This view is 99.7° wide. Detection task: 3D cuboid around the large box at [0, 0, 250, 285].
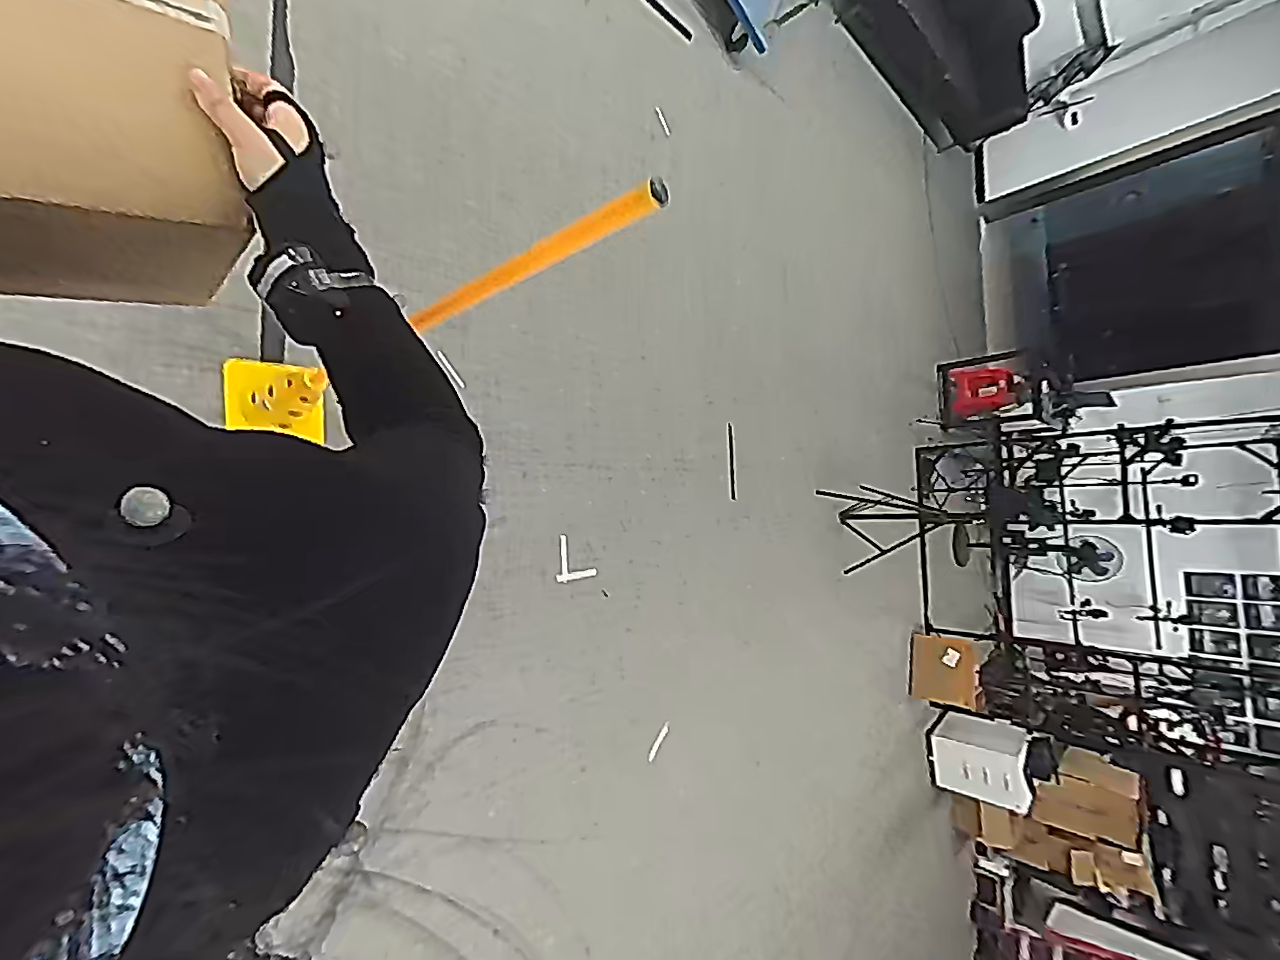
[{"bbox_3d":[-0.578,-0.344,0.399,0.408,0.320,0.320,-12,100,-43],"label":"large box"}]
